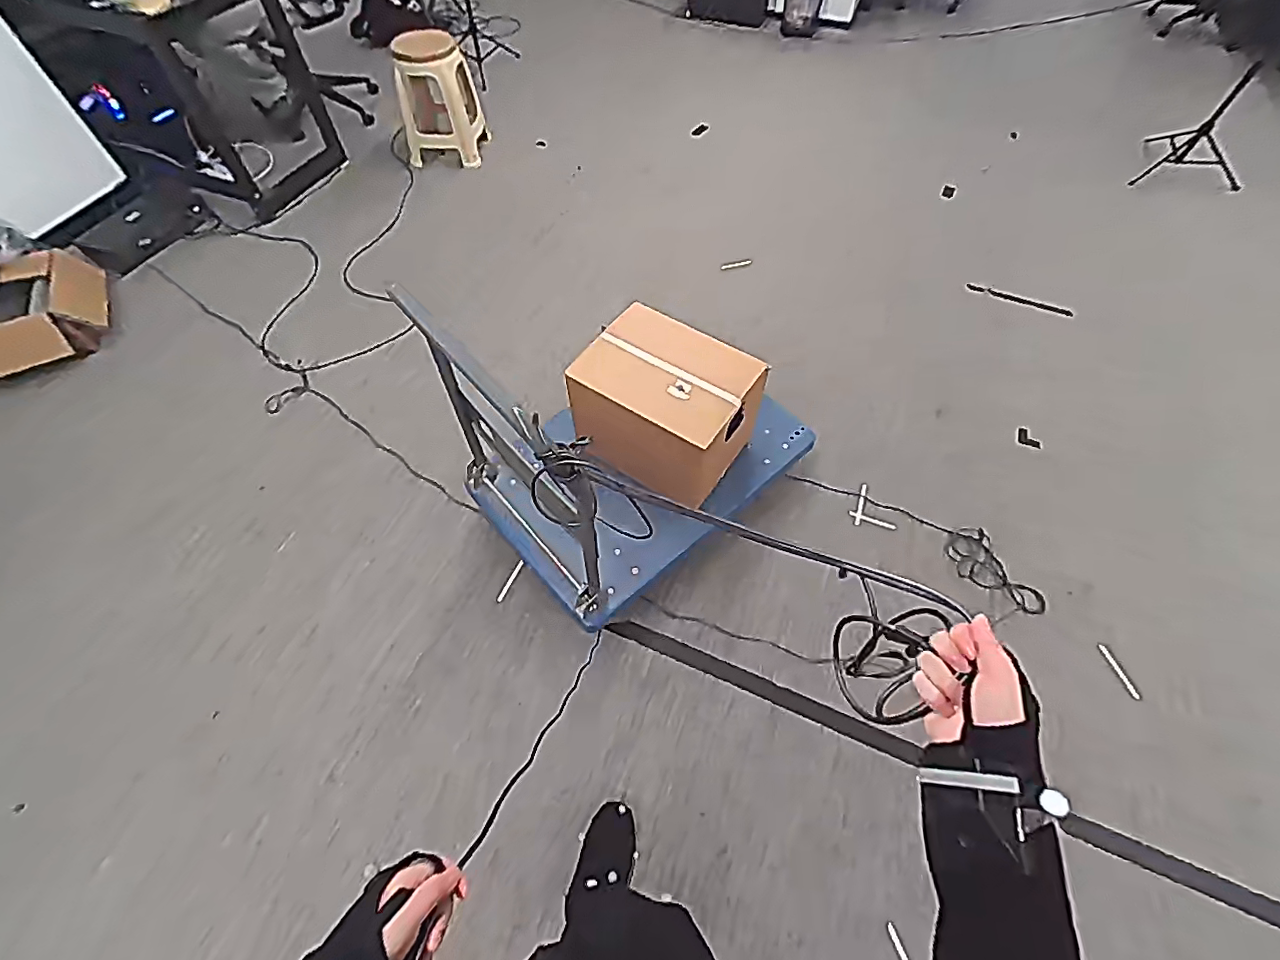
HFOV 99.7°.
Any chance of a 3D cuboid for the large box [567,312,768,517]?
[{"bbox_3d":[0.063,-0.172,1.441,0.408,0.320,0.320,30,63,17],"label":"large box"}]
